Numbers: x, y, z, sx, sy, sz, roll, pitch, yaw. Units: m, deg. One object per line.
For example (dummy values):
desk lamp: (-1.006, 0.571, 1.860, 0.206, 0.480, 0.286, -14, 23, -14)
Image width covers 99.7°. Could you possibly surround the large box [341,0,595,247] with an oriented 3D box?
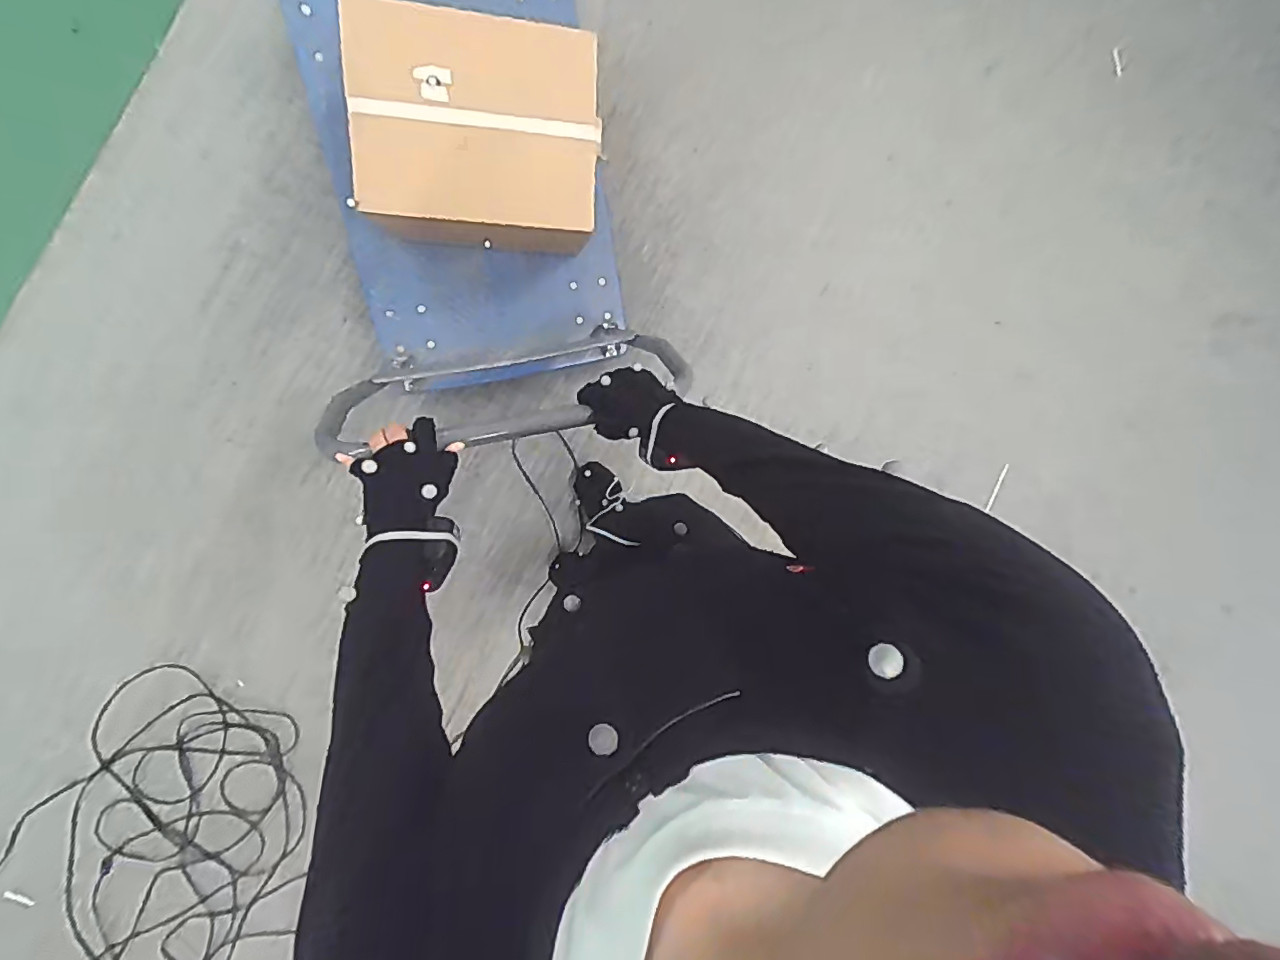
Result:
large box: (-0.301, -0.645, 1.050, 0.408, 0.320, 0.320, 0, 105, -11)
